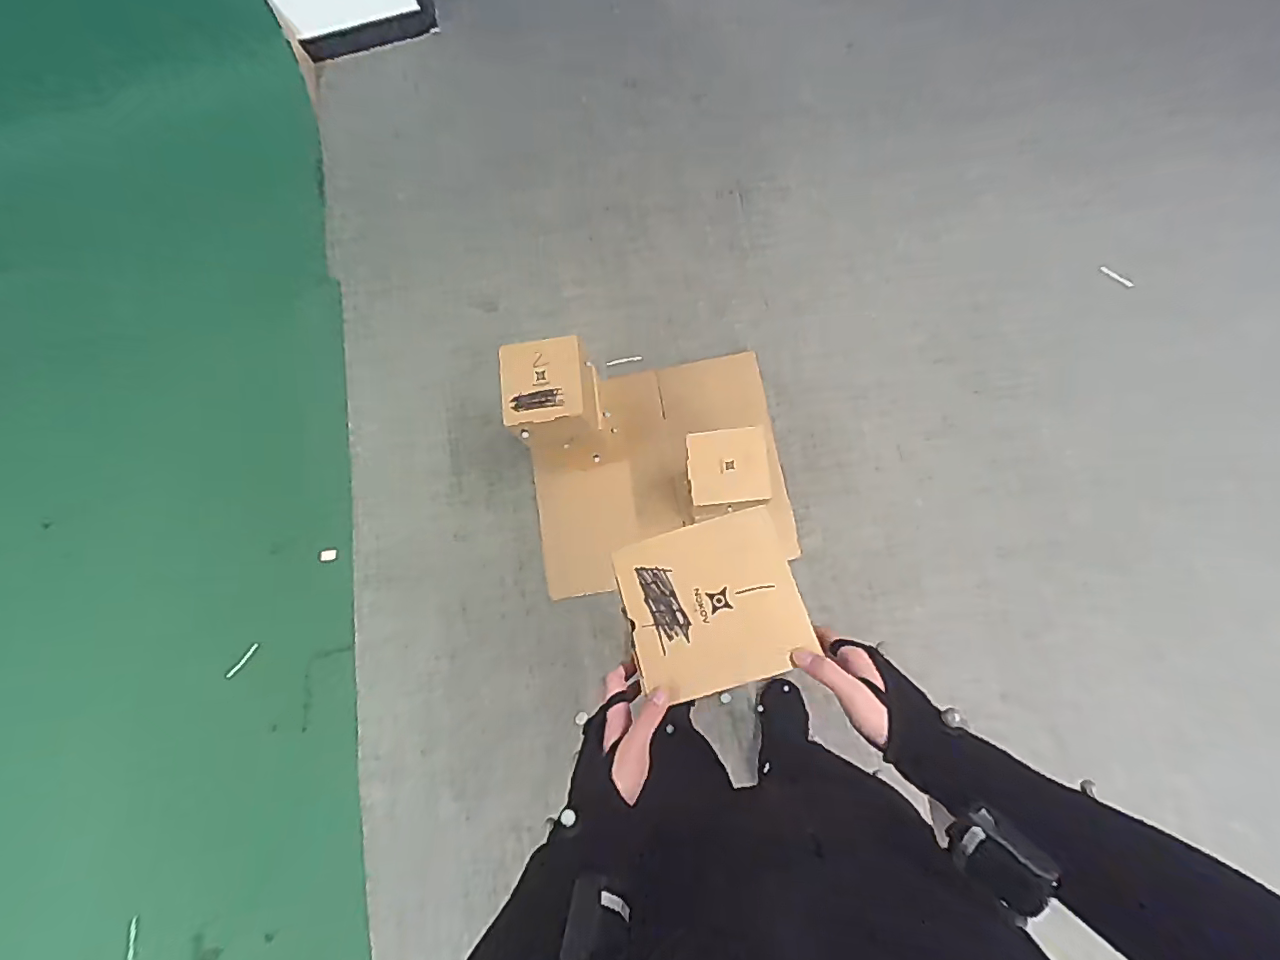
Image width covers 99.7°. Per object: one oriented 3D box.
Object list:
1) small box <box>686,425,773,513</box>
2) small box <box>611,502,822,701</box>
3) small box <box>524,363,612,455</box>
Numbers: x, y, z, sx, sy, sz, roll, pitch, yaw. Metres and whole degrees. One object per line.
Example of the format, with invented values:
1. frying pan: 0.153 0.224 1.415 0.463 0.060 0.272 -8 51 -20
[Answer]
1. small box: 0.203 -0.019 1.254 0.179 0.176 0.168 -5 78 5
2. small box: 0.080 0.146 0.614 0.179 0.176 0.168 -16 68 0
3. small box: -0.168 -0.167 1.323 0.179 0.176 0.168 -9 78 5
